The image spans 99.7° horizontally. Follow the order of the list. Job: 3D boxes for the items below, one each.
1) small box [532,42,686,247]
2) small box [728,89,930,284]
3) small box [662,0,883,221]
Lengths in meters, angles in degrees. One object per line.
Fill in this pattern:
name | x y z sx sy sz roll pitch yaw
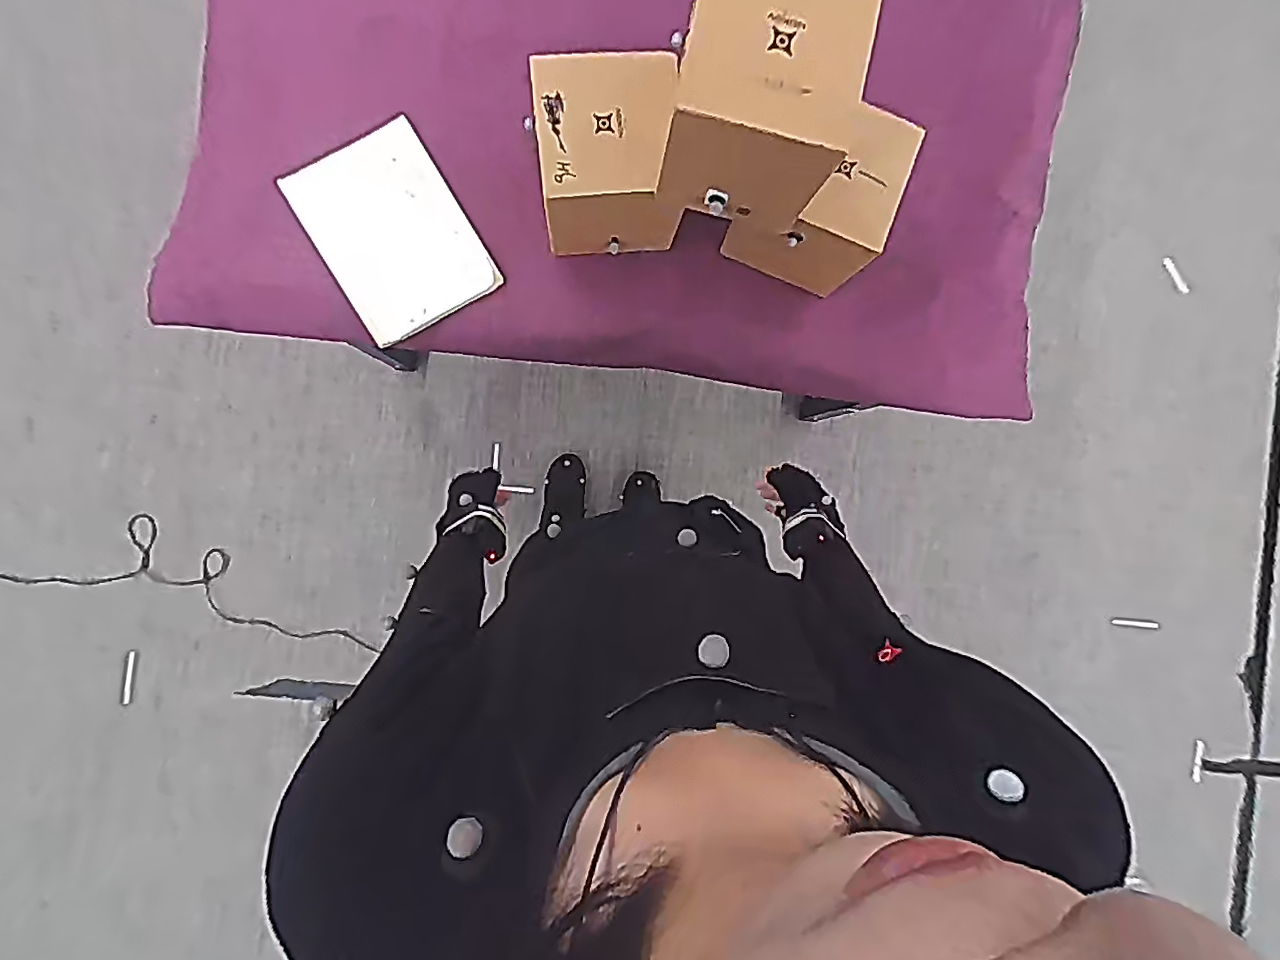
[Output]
small box | -0.040 -0.419 0.700 0.179 0.176 0.168 -6 90 -6
small box | 0.236 -0.390 0.724 0.179 0.176 0.168 21 88 -4
small box | 0.121 -0.402 0.552 0.168 0.176 0.179 11 90 -4
